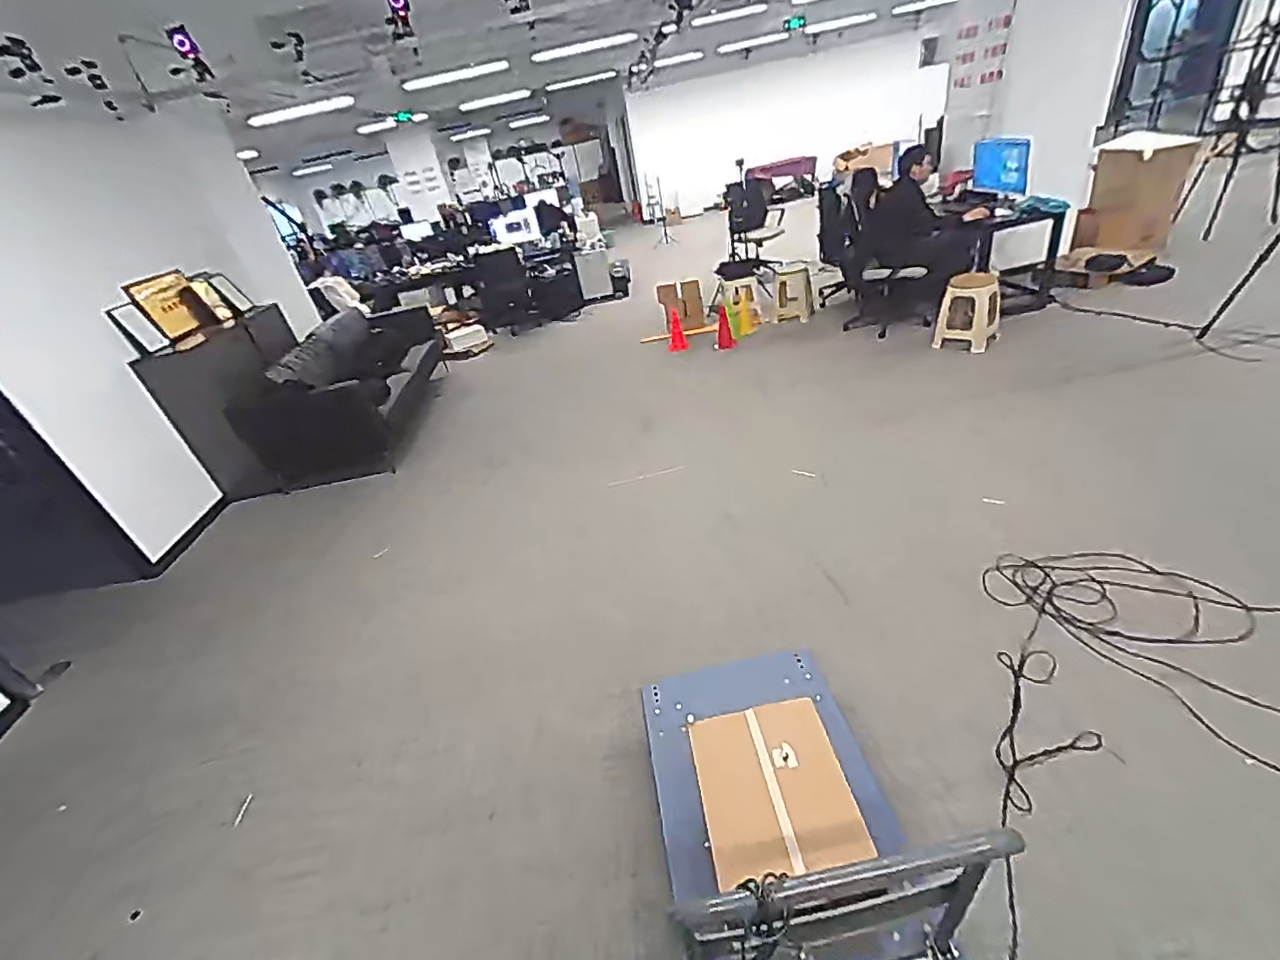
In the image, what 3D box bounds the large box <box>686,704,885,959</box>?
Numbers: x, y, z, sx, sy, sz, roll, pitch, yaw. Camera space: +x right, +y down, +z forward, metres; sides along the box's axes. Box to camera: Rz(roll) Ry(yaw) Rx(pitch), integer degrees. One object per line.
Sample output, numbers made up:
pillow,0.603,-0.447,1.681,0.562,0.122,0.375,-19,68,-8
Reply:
large box,0.314,0.807,1.238,0.320,0.320,0.408,-12,30,0
